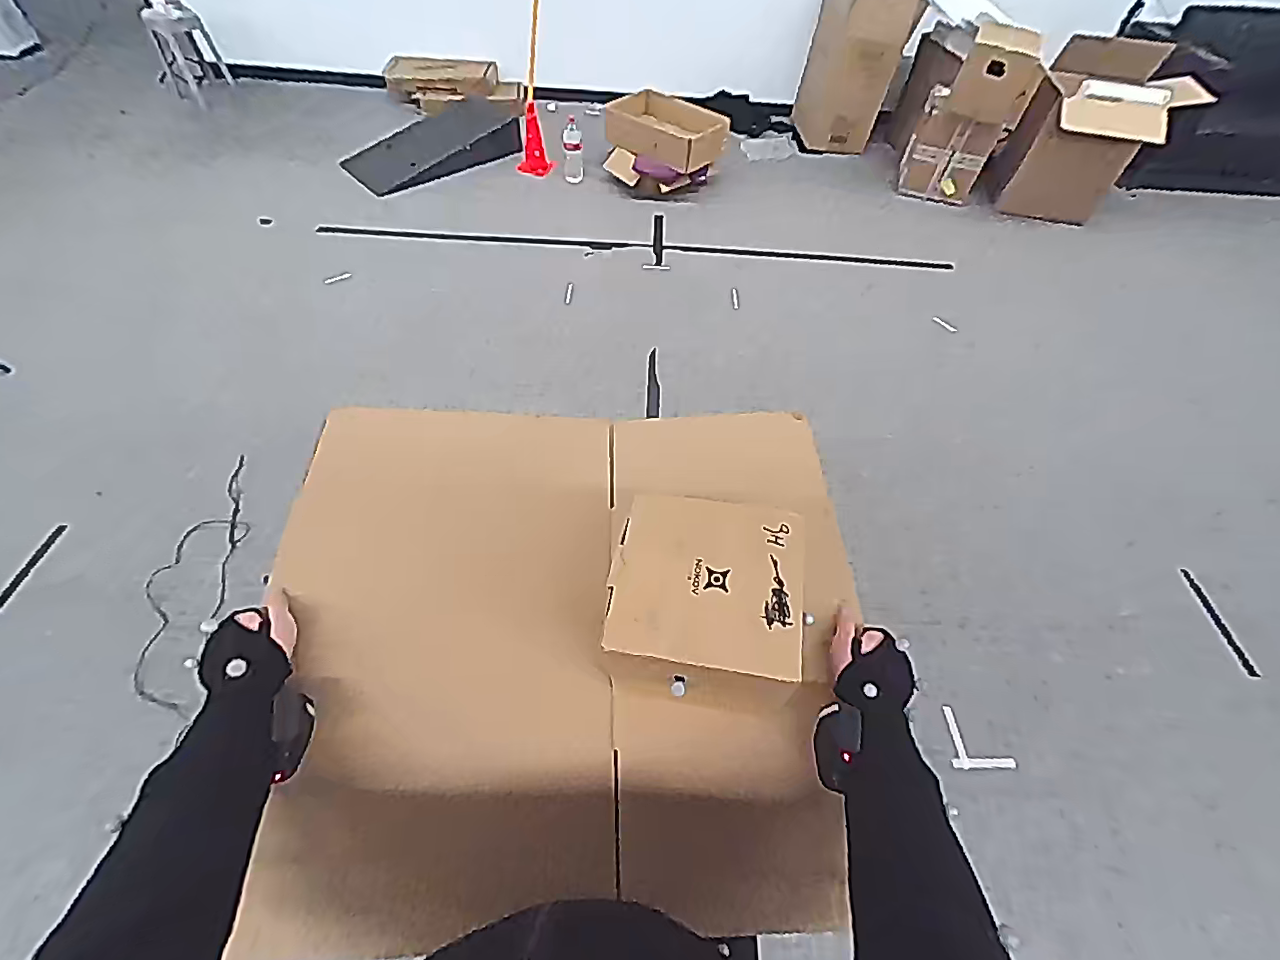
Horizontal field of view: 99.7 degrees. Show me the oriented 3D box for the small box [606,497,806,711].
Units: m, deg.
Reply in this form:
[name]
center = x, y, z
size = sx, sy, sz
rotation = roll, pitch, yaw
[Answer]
[small box]
center = 0.075, 0.137, 0.581
size = 0.179, 0.176, 0.168
rotation = 6, 58, 9
